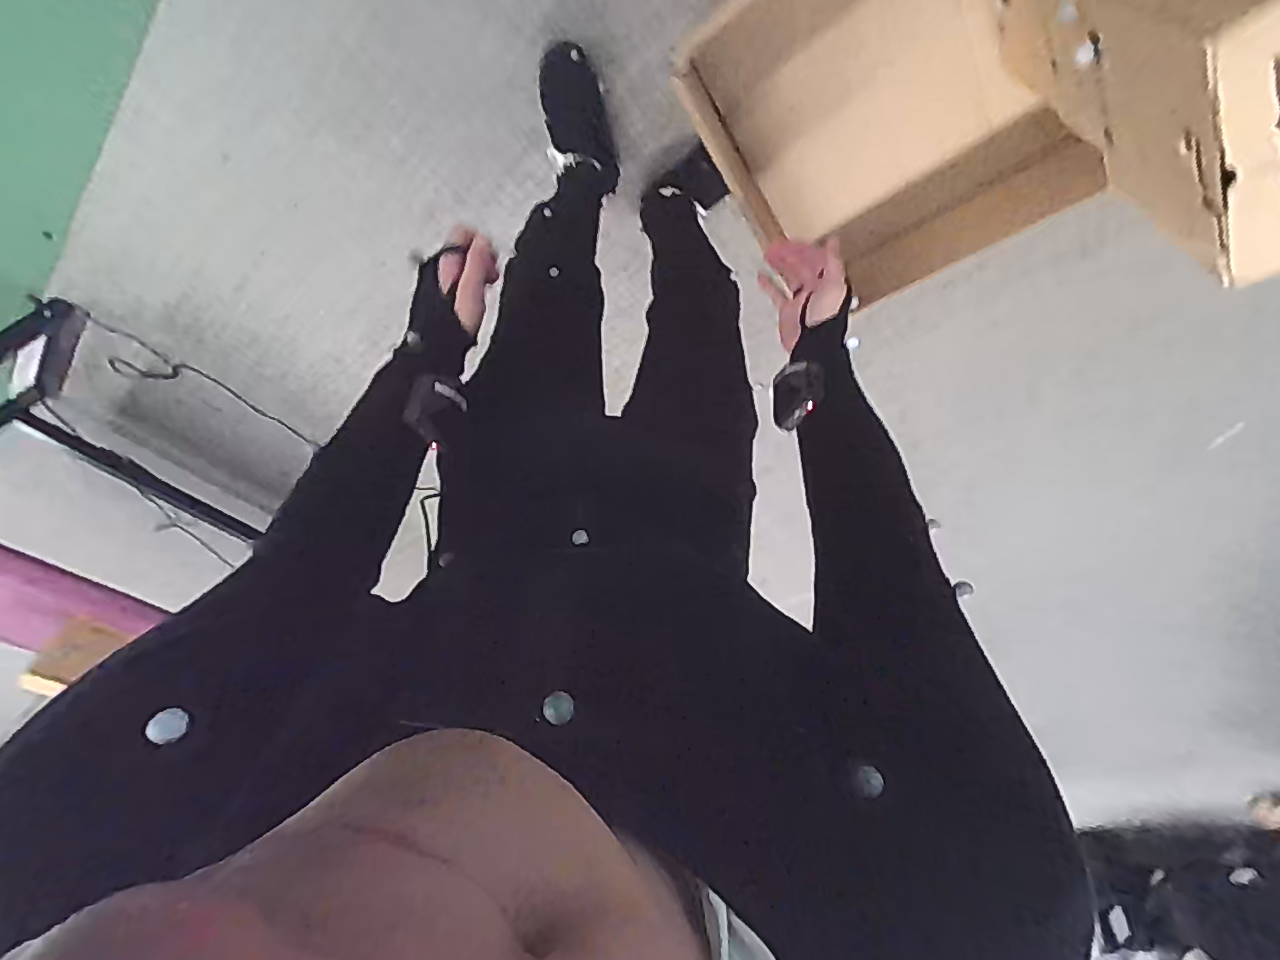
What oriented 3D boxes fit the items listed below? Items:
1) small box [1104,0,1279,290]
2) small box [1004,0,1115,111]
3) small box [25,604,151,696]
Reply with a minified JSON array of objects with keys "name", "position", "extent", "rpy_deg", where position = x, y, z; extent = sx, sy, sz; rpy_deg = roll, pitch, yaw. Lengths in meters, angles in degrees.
[{"name":"small box","position":[0.407,-0.254,0.310],"extent":[0.179,0.176,0.168],"rpy_deg":[-24,129,32]},{"name":"small box","position":[0.468,-0.507,0.511],"extent":[0.179,0.176,0.168],"rpy_deg":[-21,130,32]},{"name":"small box","position":[-1.459,0.450,1.437],"extent":[0.179,0.176,0.168],"rpy_deg":[-27,126,35]}]
